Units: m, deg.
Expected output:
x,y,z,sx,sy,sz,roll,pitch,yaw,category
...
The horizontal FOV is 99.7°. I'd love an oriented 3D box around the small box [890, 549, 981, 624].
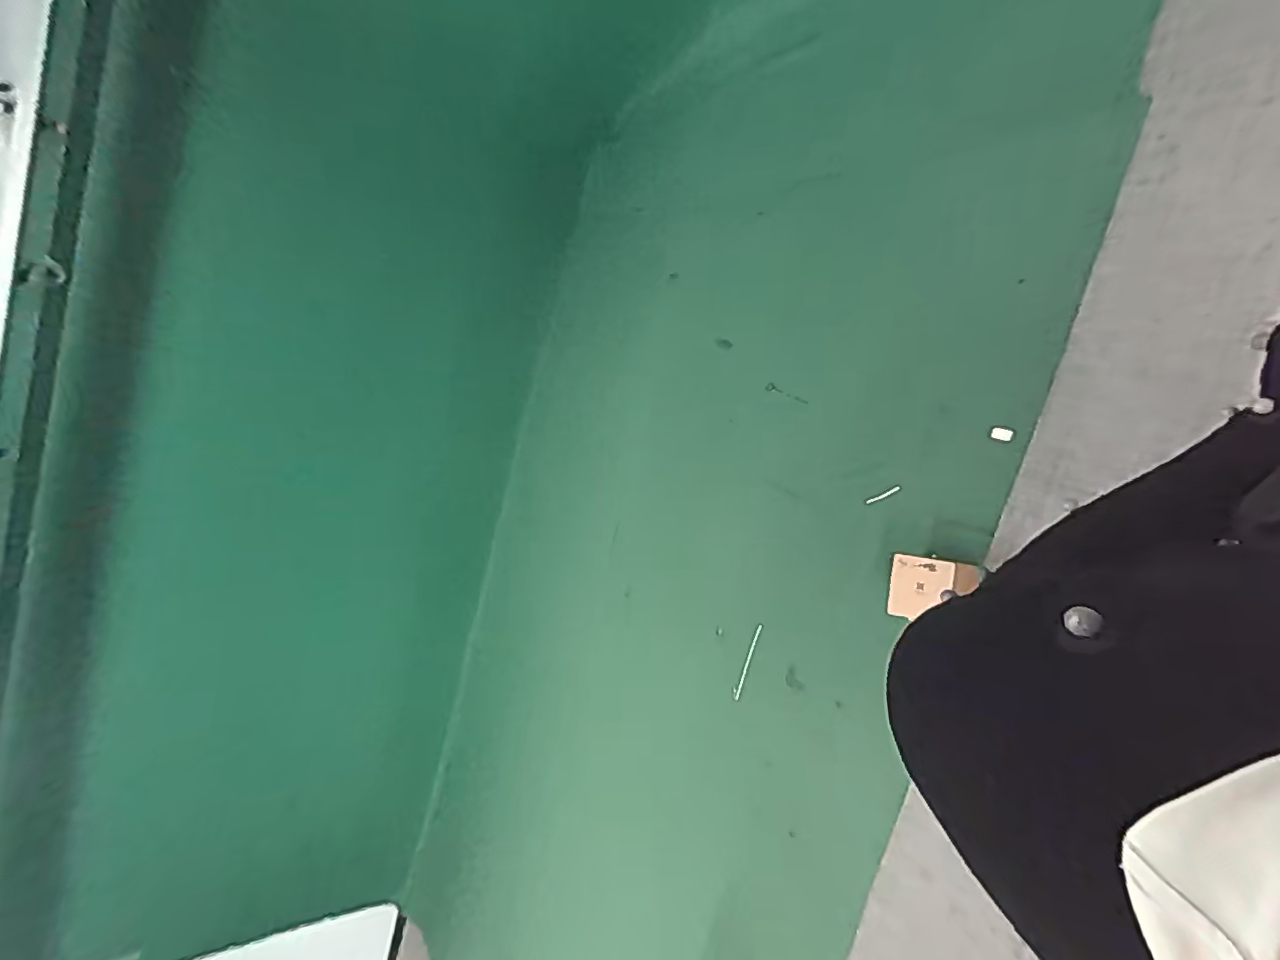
x,y,z,sx,sy,sz,roll,pitch,yaw,category
0.830,0.296,1.517,0.168,0.176,0.179,6,86,53,small box
